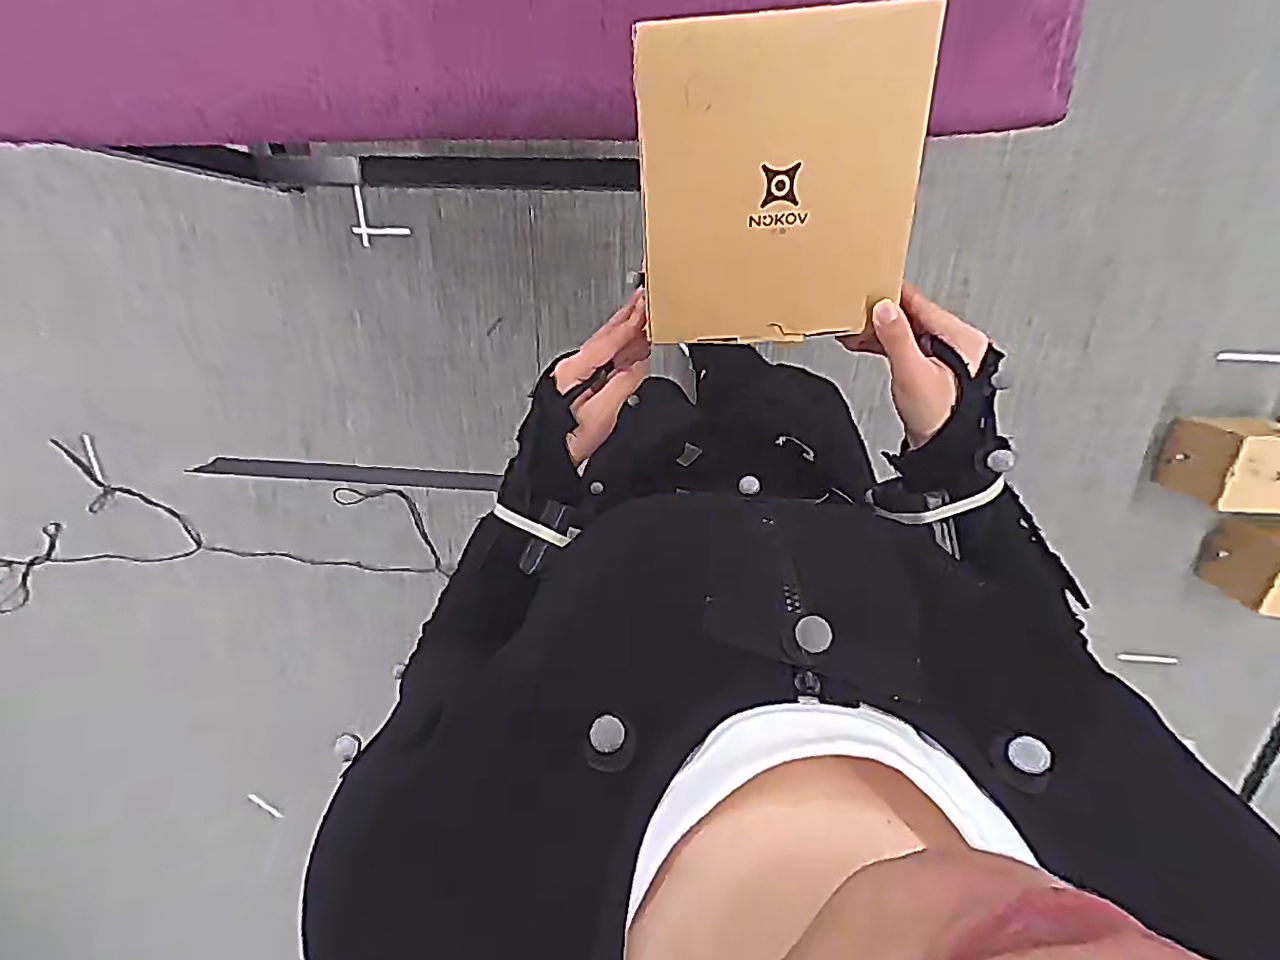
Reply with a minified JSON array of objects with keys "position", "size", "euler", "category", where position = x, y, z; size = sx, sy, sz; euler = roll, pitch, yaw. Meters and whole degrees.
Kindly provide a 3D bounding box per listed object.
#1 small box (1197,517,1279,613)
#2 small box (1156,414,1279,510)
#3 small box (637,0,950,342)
[{"position":[1.479,0.196,1.249],"size":[0.179,0.176,0.168],"euler":[5,111,4],"category":"small box"},{"position":[1.300,-0.043,1.172],"size":[0.179,0.176,0.168],"euler":[2,110,4],"category":"small box"},{"position":[0.084,-0.209,0.388],"size":[0.168,0.176,0.179],"euler":[-3,119,2],"category":"small box"}]
